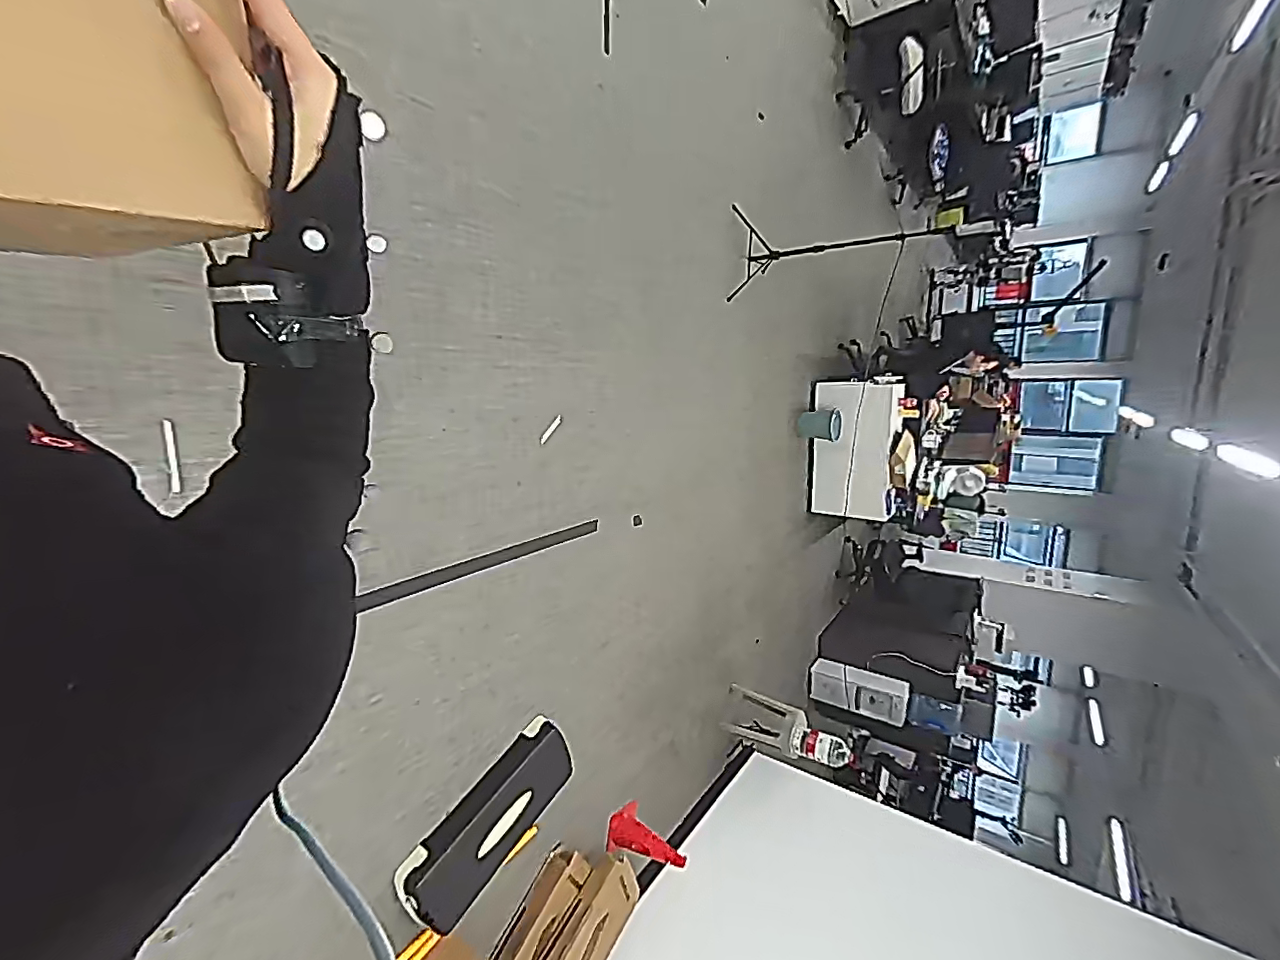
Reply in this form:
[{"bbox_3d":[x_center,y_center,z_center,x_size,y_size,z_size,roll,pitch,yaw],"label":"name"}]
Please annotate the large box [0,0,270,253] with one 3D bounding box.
[{"bbox_3d":[-0.468,-0.278,0.217,0.408,0.320,0.320,-25,121,-54],"label":"large box"}]
